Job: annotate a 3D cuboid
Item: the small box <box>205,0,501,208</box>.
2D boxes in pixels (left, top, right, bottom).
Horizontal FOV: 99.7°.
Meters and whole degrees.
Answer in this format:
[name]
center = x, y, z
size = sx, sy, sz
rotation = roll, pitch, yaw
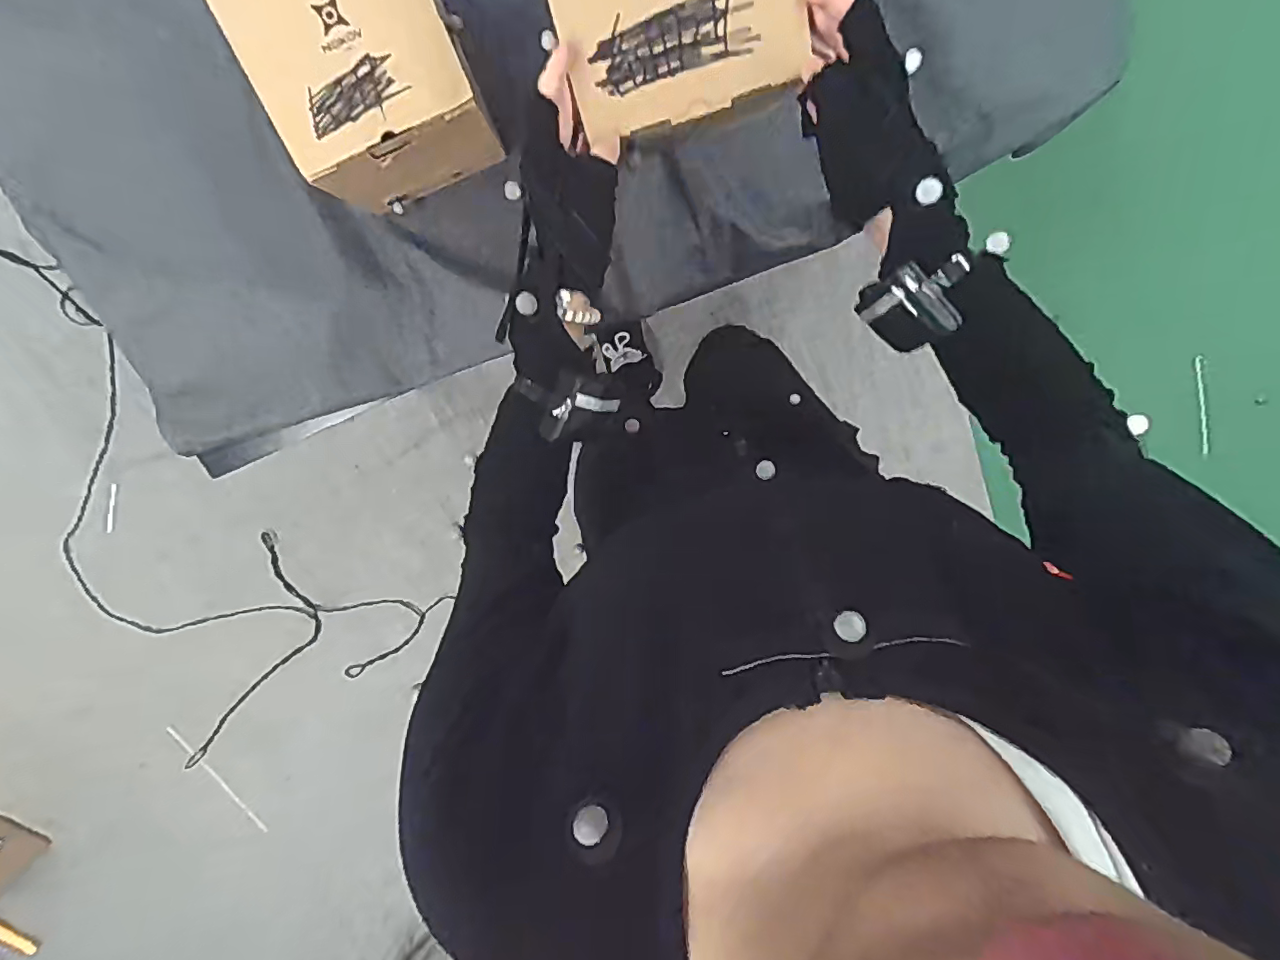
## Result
[small box]
center = -0.251, -0.381, 0.515
size = 0.168, 0.176, 0.179
rotation = -23, 106, 2
